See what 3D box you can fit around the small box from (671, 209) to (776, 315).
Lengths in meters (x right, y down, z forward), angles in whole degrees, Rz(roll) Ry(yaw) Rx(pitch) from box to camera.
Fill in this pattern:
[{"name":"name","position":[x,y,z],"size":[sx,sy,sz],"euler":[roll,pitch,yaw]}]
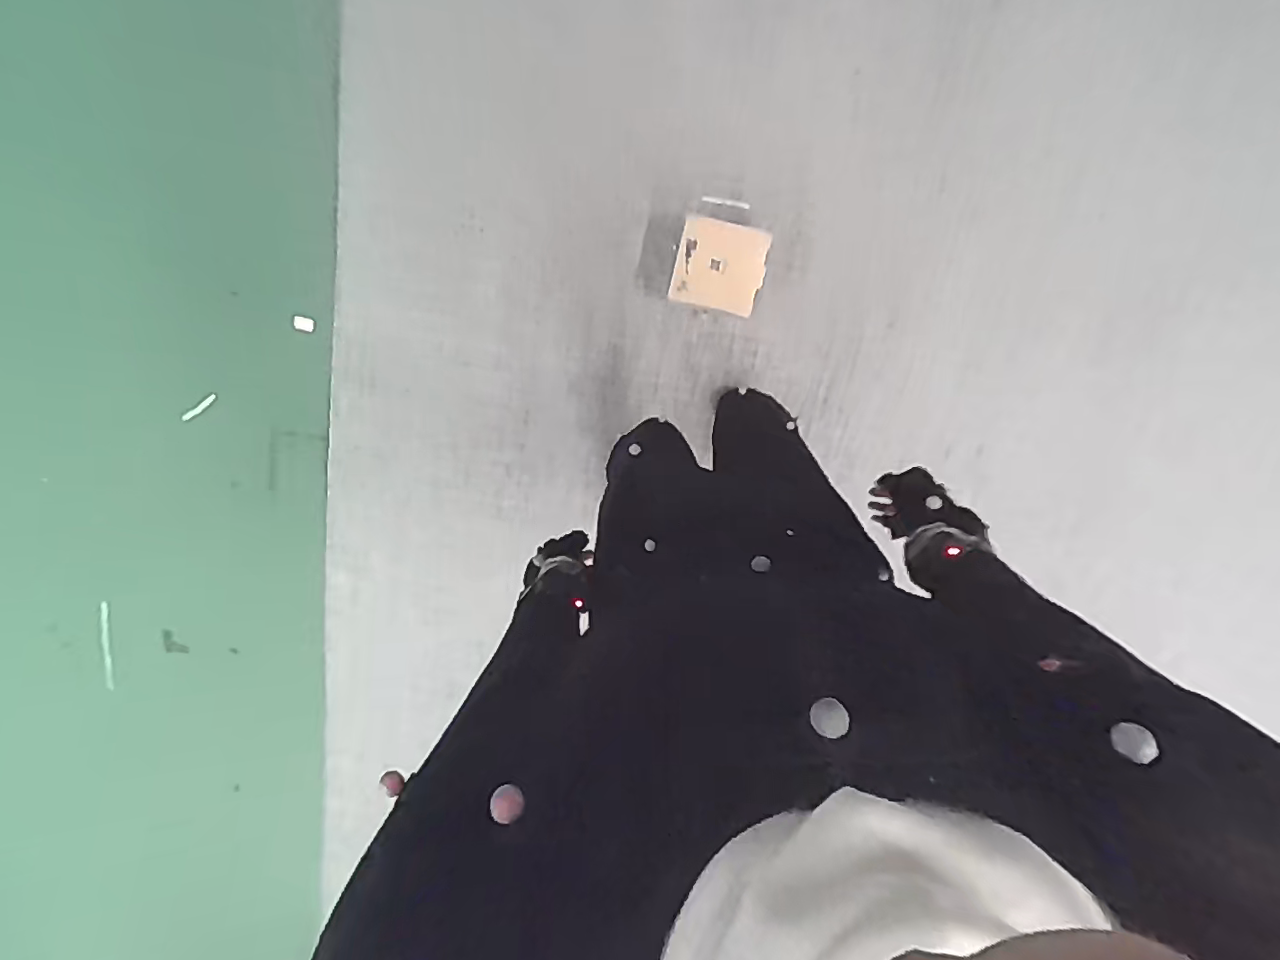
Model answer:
[{"name":"small box","position":[0.171,-0.459,1.161],"size":[0.179,0.176,0.168],"euler":[15,105,0]}]
